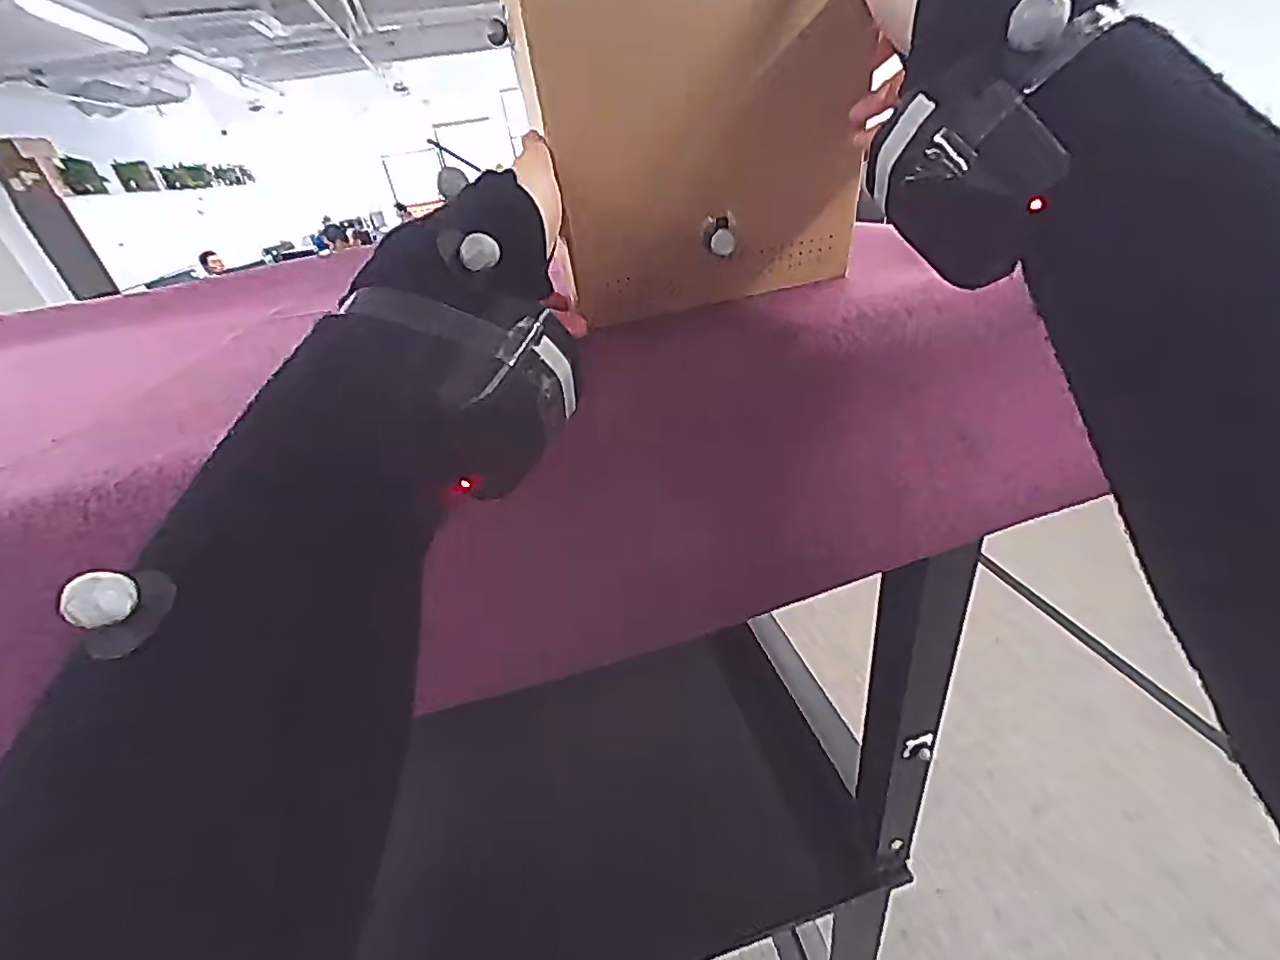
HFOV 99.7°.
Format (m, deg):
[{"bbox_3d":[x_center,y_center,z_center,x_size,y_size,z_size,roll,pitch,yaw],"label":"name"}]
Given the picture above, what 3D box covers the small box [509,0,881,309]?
[{"bbox_3d":[0.022,-0.229,0.341,0.179,0.176,0.168,-14,40,-6],"label":"small box"}]
